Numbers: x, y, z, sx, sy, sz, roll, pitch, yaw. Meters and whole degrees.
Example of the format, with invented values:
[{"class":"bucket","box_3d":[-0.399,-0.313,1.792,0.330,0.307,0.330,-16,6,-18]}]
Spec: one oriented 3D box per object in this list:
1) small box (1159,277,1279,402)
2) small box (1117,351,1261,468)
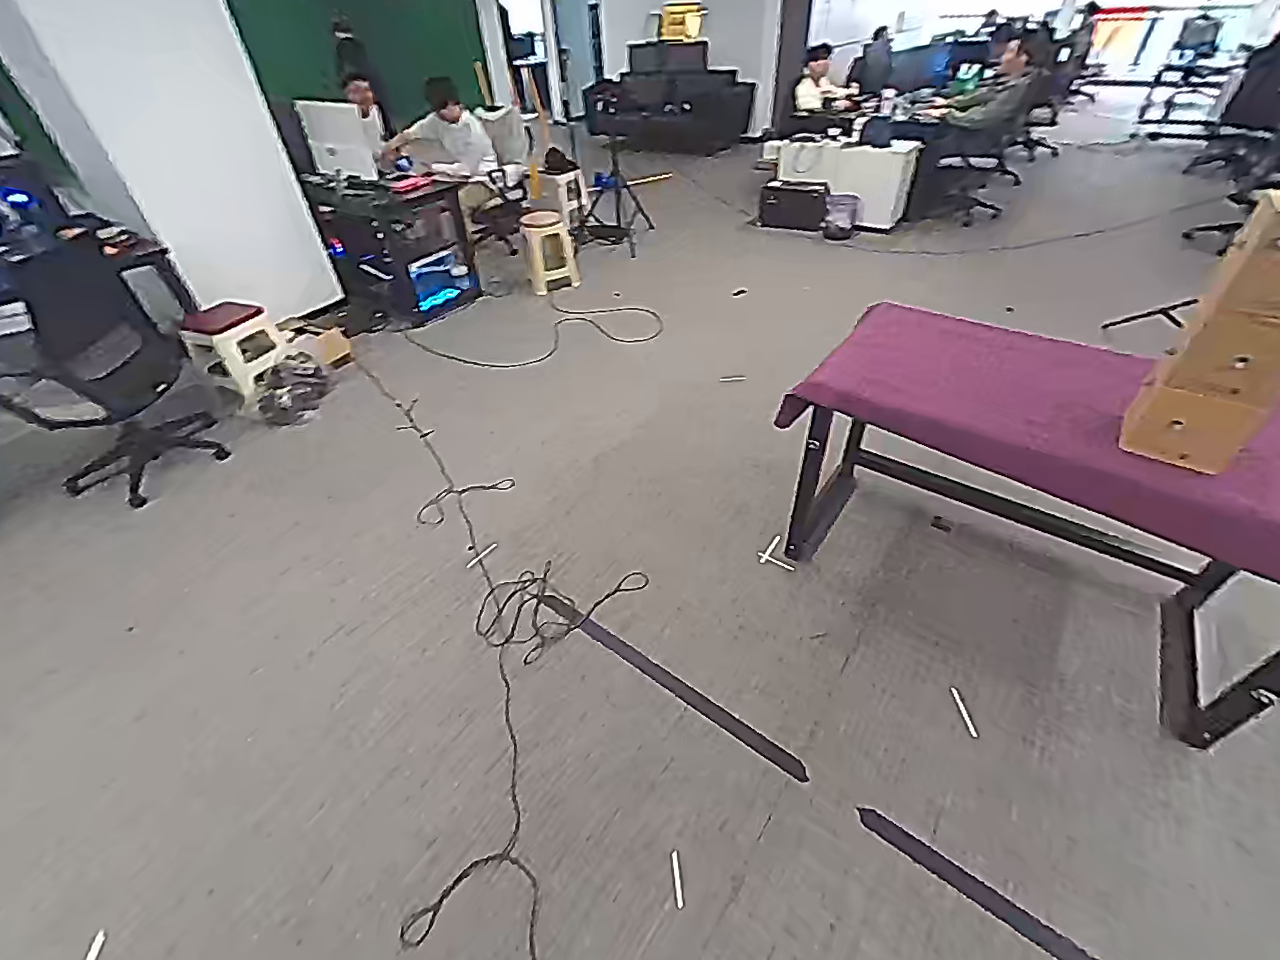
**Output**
[{"class":"small box","box_3d":[1.177,-0.278,1.070,0.168,0.176,0.179,25,49,29]},{"class":"small box","box_3d":[1.181,-0.152,1.175,0.168,0.176,0.179,24,48,29]}]
